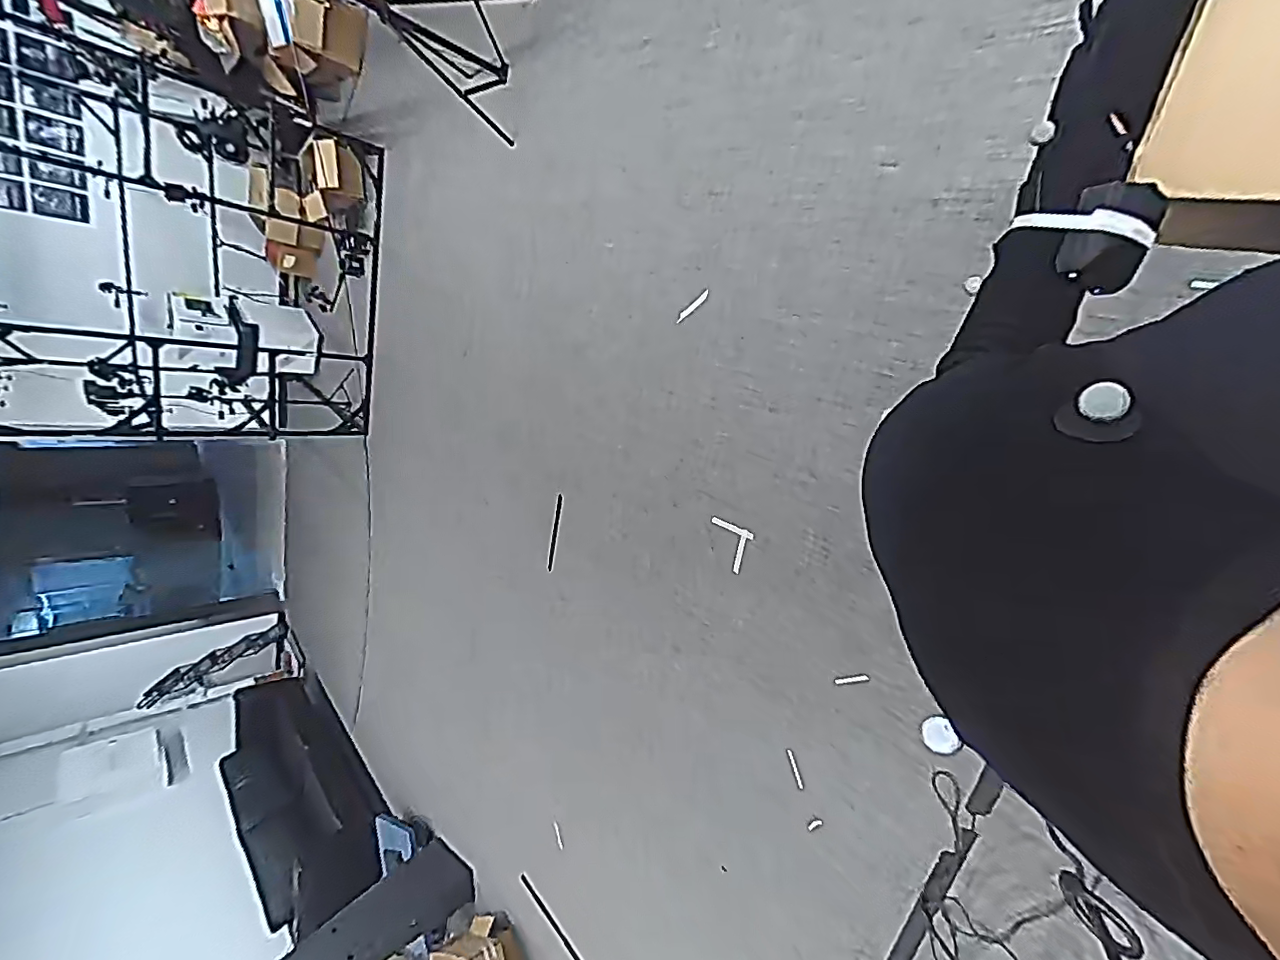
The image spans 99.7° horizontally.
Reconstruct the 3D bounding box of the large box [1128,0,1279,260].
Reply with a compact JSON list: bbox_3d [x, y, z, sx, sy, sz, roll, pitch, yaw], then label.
[{"bbox_3d":[0.622,-0.310,0.334,0.408,0.320,0.320,26,118,38],"label":"large box"}]
